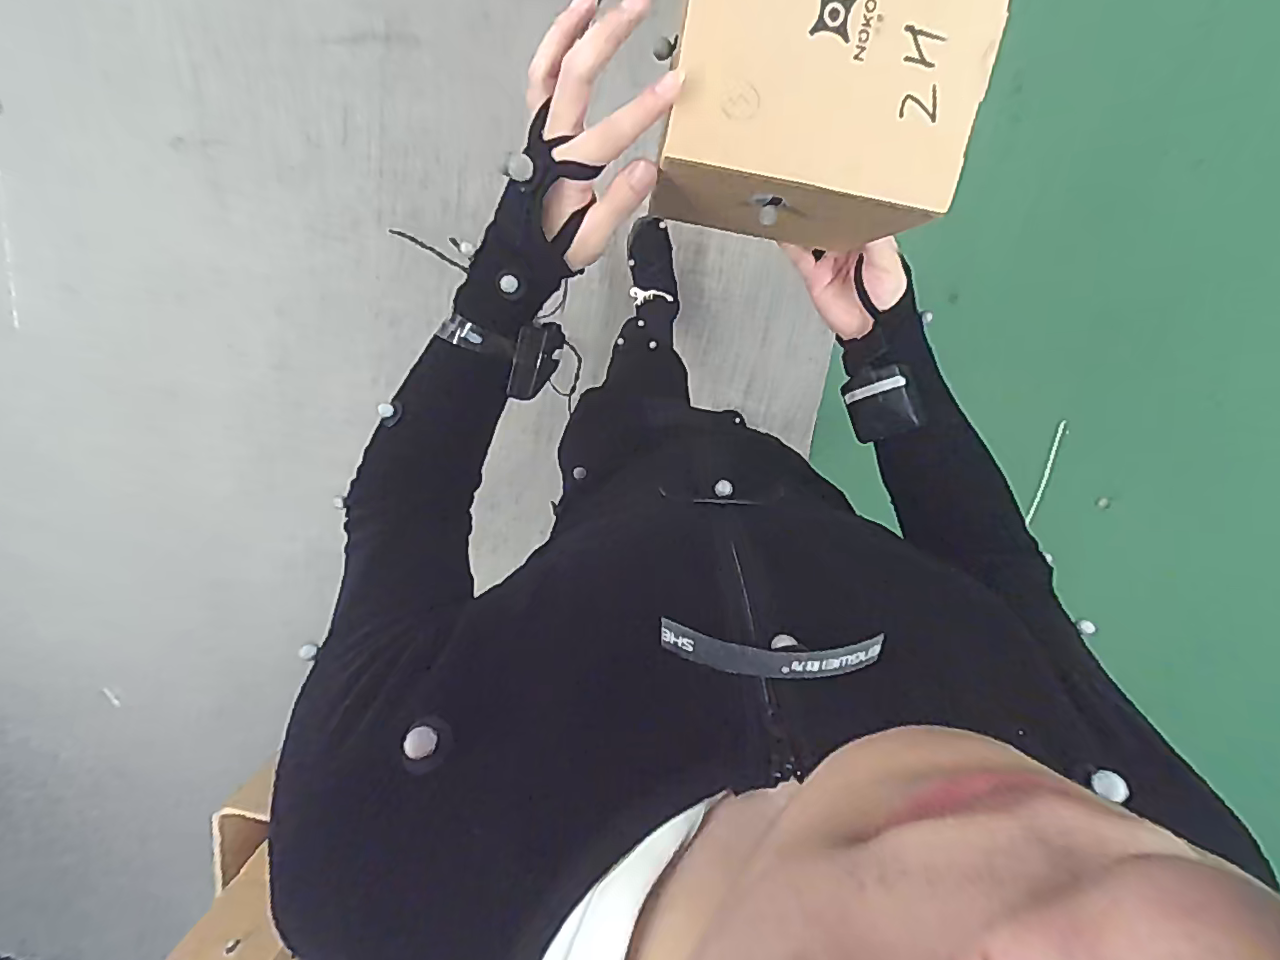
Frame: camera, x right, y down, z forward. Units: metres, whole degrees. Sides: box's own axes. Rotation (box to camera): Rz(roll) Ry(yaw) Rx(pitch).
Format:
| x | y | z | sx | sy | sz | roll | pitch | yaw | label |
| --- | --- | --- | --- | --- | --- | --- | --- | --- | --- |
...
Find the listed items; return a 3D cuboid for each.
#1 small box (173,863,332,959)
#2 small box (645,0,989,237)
| x | y | z | sx | sy | sz | roll | pitch | yaw | label |
| --- | --- | --- | --- | --- | --- | --- | --- | --- | --- |
| -0.695 | 0.851 | 0.995 | 0.179 | 0.176 | 0.168 | 7 | 105 | 5 | small box |
| 0.101 | -0.277 | 0.371 | 0.179 | 0.176 | 0.168 | 9 | 106 | -4 | small box |
